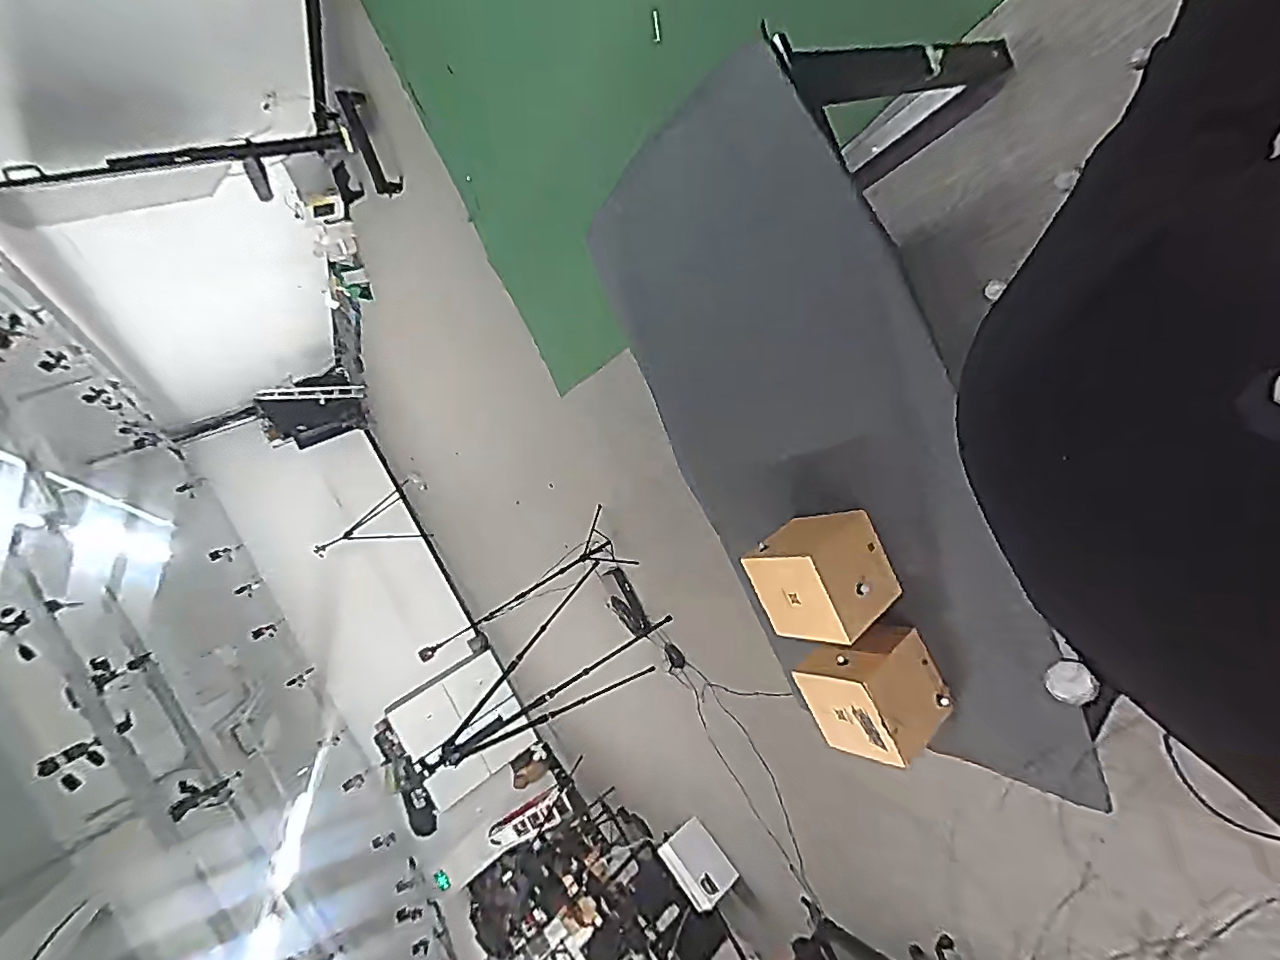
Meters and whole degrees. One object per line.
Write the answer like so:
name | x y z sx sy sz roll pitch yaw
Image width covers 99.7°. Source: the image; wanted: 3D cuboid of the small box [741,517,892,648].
small box | 0.323 0.177 0.973 0.179 0.176 0.168 -19 99 61

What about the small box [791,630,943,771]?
small box | 0.422 0.390 0.995 0.168 0.176 0.179 62 151 -1
